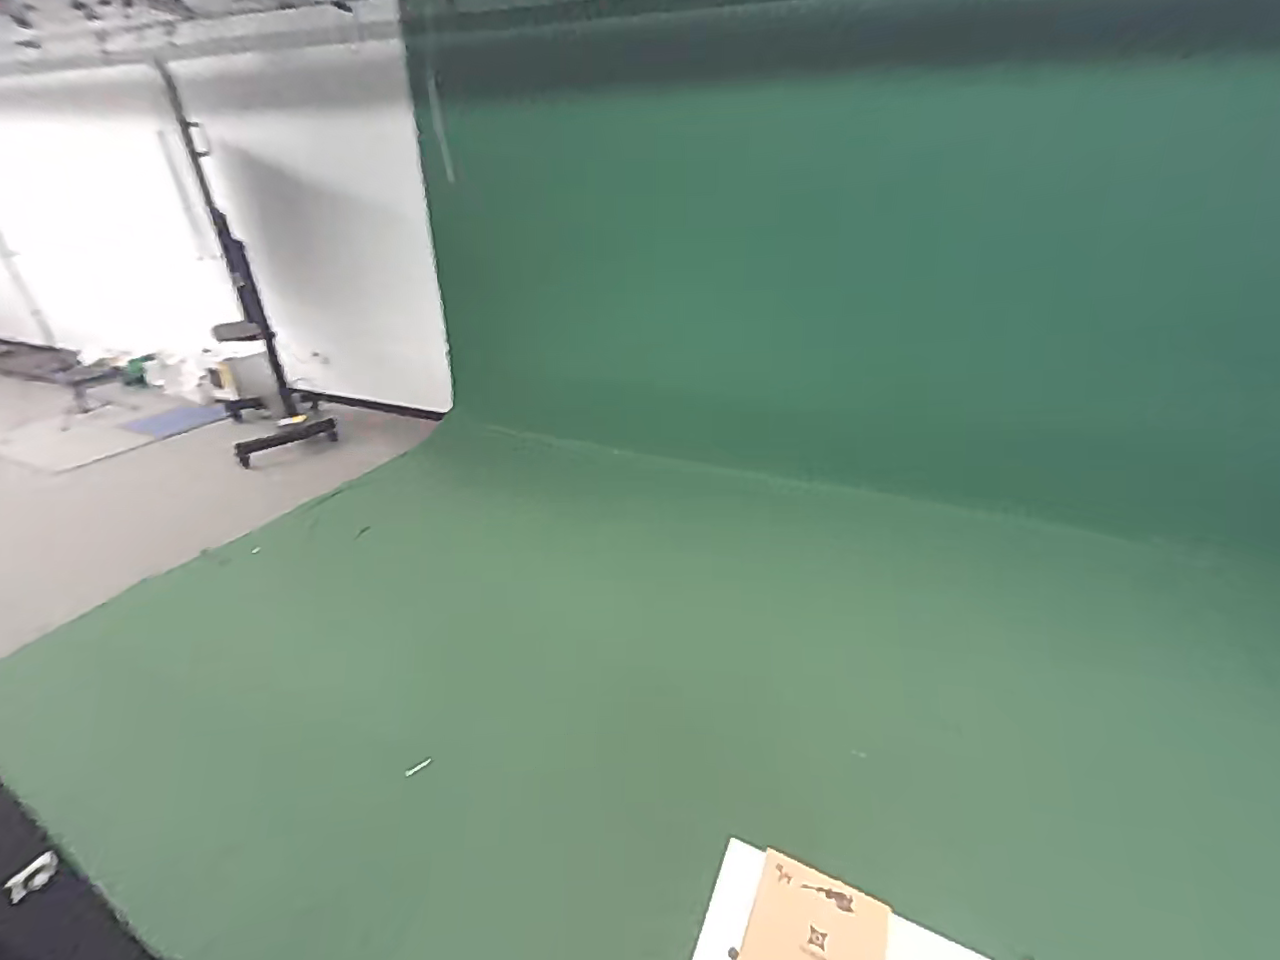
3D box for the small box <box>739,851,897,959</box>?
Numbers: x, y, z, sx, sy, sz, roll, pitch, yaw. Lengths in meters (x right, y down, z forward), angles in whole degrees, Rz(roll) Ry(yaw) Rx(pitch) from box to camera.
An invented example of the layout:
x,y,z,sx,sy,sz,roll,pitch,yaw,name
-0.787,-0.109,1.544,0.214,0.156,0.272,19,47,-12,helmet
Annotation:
x,y,z,sx,sy,sz,roll,pitch,yaw,name
0.214,0.637,0.687,0.168,0.176,0.179,14,31,23,small box
